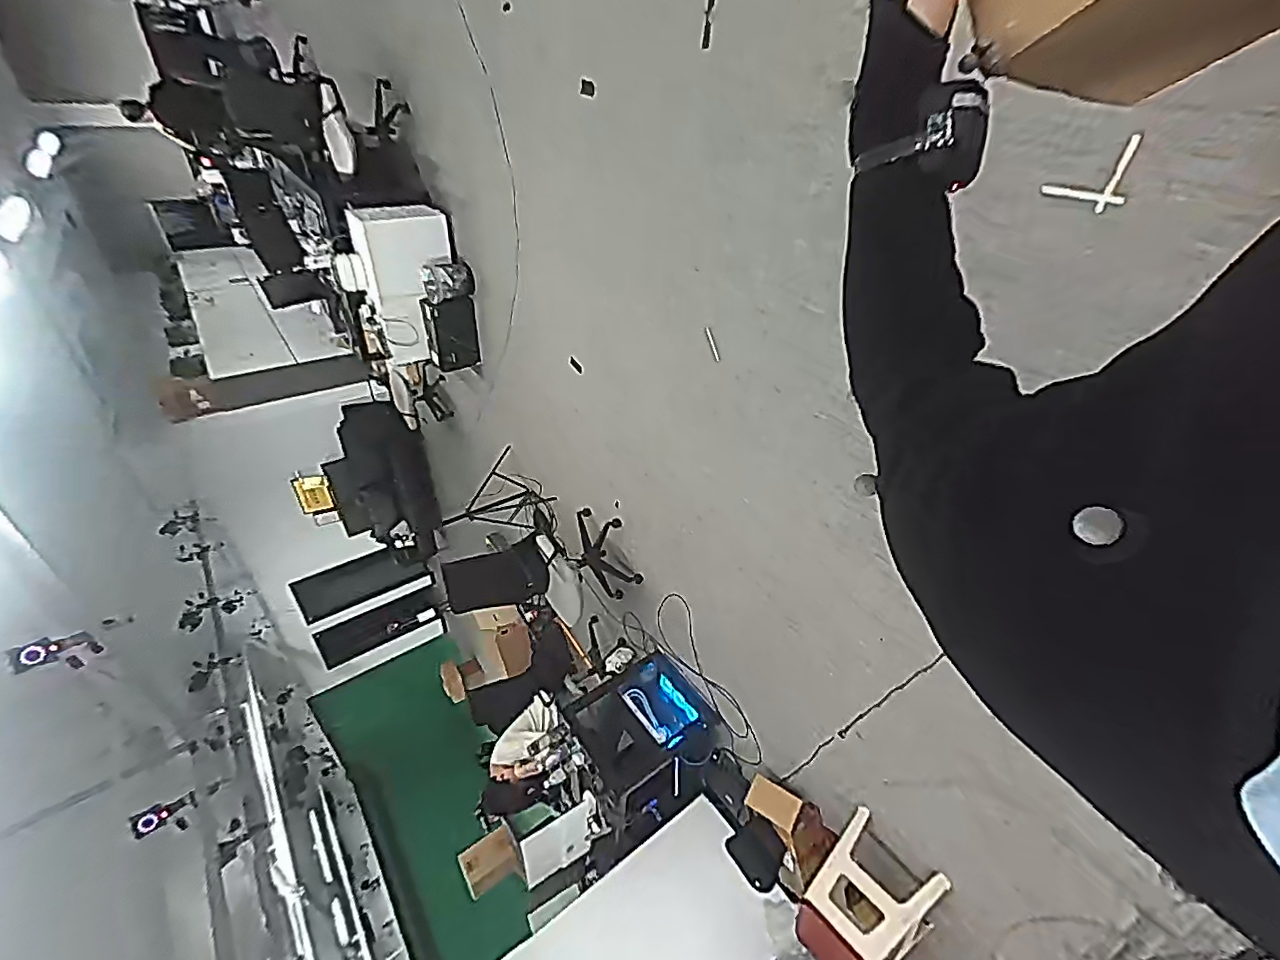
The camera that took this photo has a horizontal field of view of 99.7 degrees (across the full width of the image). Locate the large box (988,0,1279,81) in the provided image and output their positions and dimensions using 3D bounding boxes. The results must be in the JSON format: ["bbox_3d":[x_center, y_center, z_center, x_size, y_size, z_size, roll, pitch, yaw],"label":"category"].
[{"bbox_3d":[0.445,-0.516,0.291,0.408,0.320,0.320,-9,97,61],"label":"large box"}]
